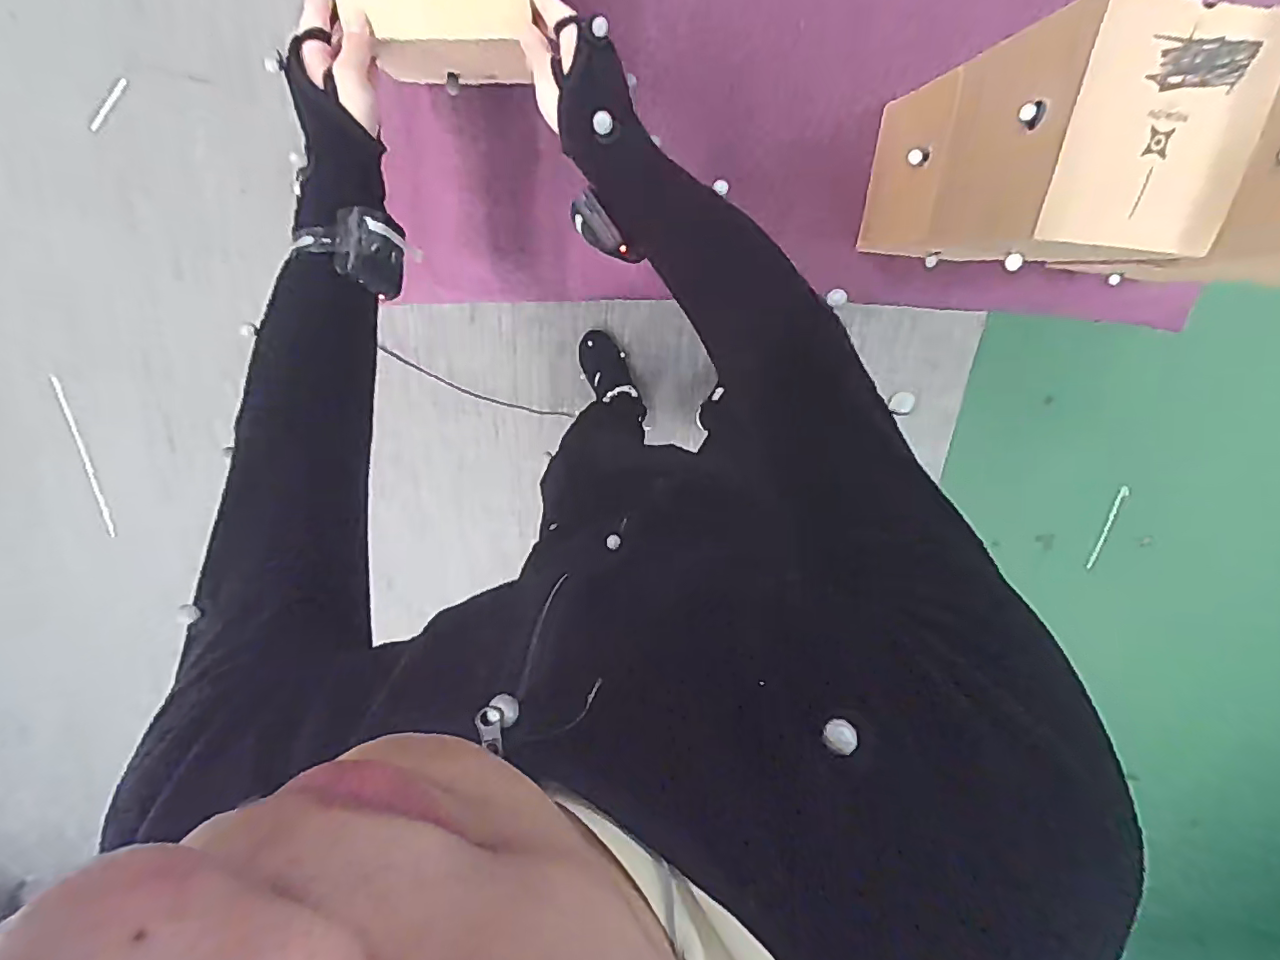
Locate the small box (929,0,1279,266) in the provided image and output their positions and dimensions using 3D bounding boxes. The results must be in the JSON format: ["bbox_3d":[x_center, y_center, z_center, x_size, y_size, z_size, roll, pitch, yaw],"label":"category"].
[{"bbox_3d":[0.407,-0.303,0.507,0.168,0.176,0.179,3,111,-6],"label":"small box"}]

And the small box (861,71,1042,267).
[{"bbox_3d":[0.393,-0.360,0.660,0.168,0.176,0.179,3,110,-5],"label":"small box"}]

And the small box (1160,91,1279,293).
[{"bbox_3d":[0.688,-0.284,0.534,0.168,0.176,0.179,5,110,-5],"label":"small box"}]

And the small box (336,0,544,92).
[{"bbox_3d":[-0.185,-0.494,0.513,0.168,0.176,0.179,-3,115,-4],"label":"small box"}]
